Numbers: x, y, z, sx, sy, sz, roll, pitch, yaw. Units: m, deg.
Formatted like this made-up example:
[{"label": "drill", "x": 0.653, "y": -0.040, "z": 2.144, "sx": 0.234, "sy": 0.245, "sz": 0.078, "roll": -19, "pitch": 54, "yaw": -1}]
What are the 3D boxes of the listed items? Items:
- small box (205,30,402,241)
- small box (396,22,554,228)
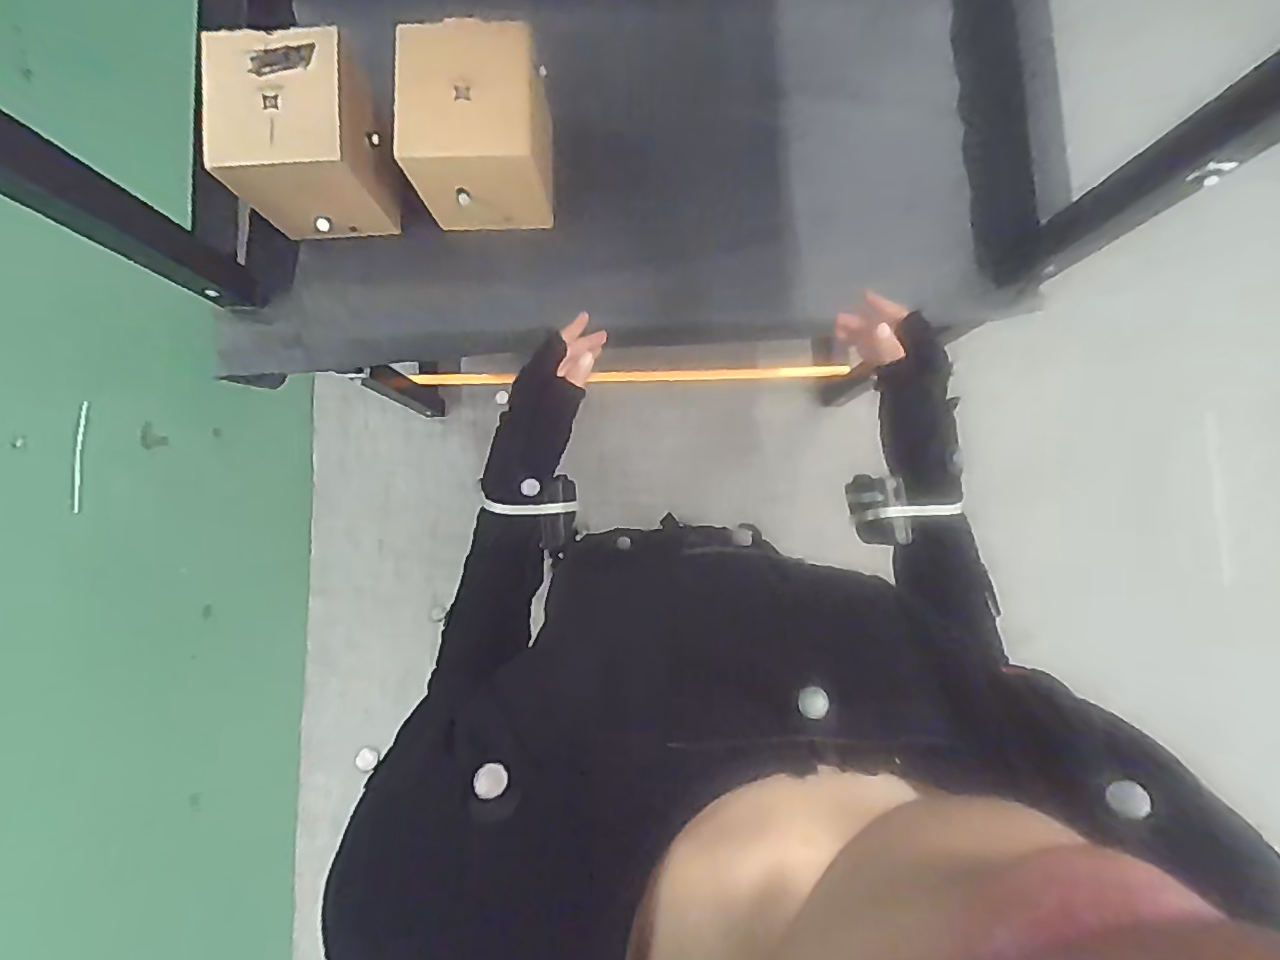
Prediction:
[{"label": "small box", "x": -0.437, "y": -0.451, "z": 0.729, "sx": 0.168, "sy": 0.176, "sz": 0.179, "roll": -4, "pitch": 85, "yaw": 0}, {"label": "small box", "x": -0.211, "y": -0.462, "z": 0.731, "sx": 0.168, "sy": 0.176, "sz": 0.179, "roll": -1, "pitch": 84, "yaw": 0}]
